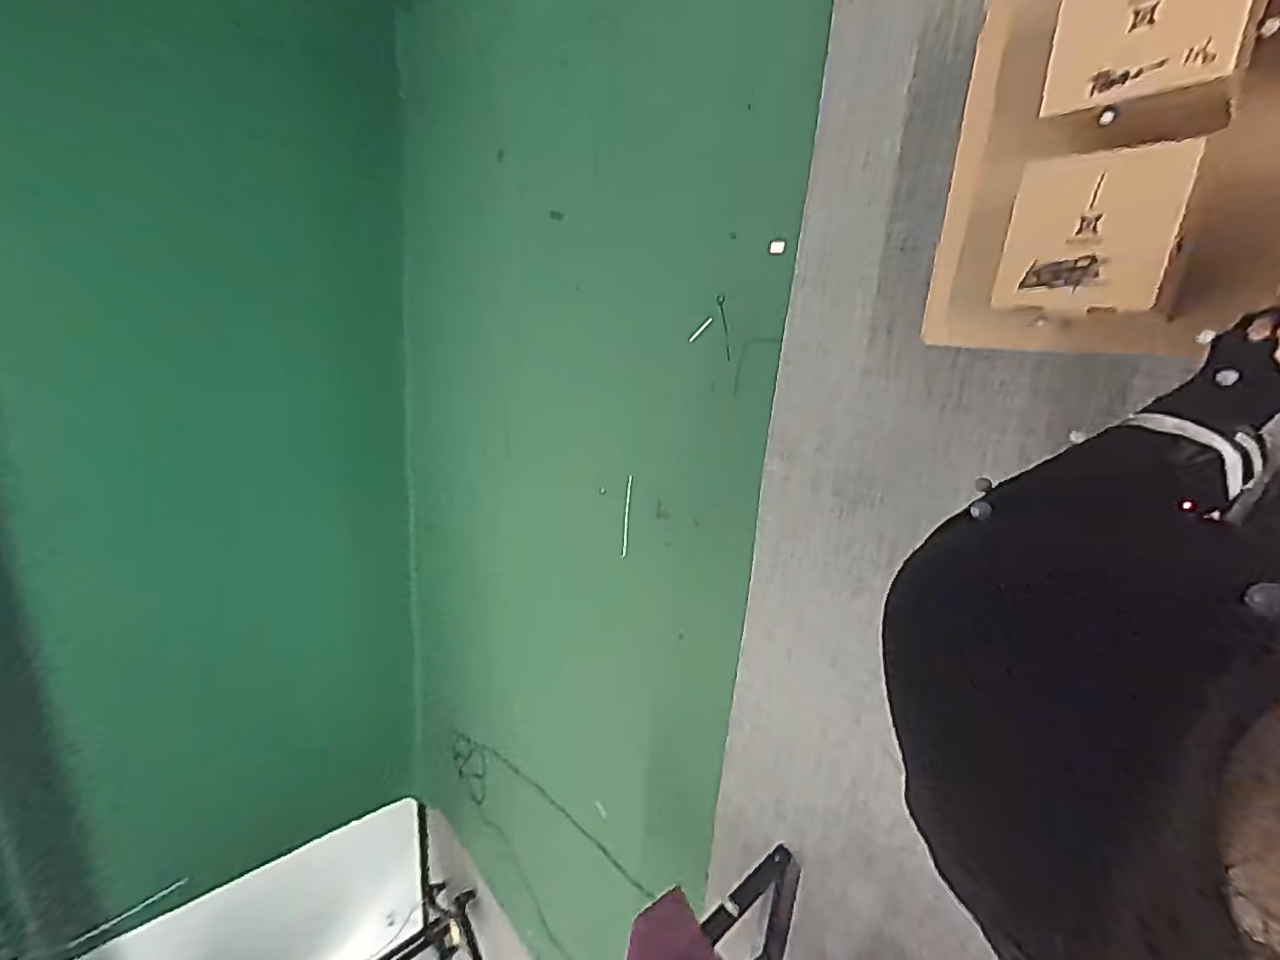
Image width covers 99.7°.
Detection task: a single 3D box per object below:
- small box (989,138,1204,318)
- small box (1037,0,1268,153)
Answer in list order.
[{"bbox_3d":[0.588,-0.307,0.698,0.168,0.176,0.179,21,111,45],"label":"small box"},{"bbox_3d":[0.607,-0.520,0.639,0.168,0.176,0.179,19,108,47],"label":"small box"}]
